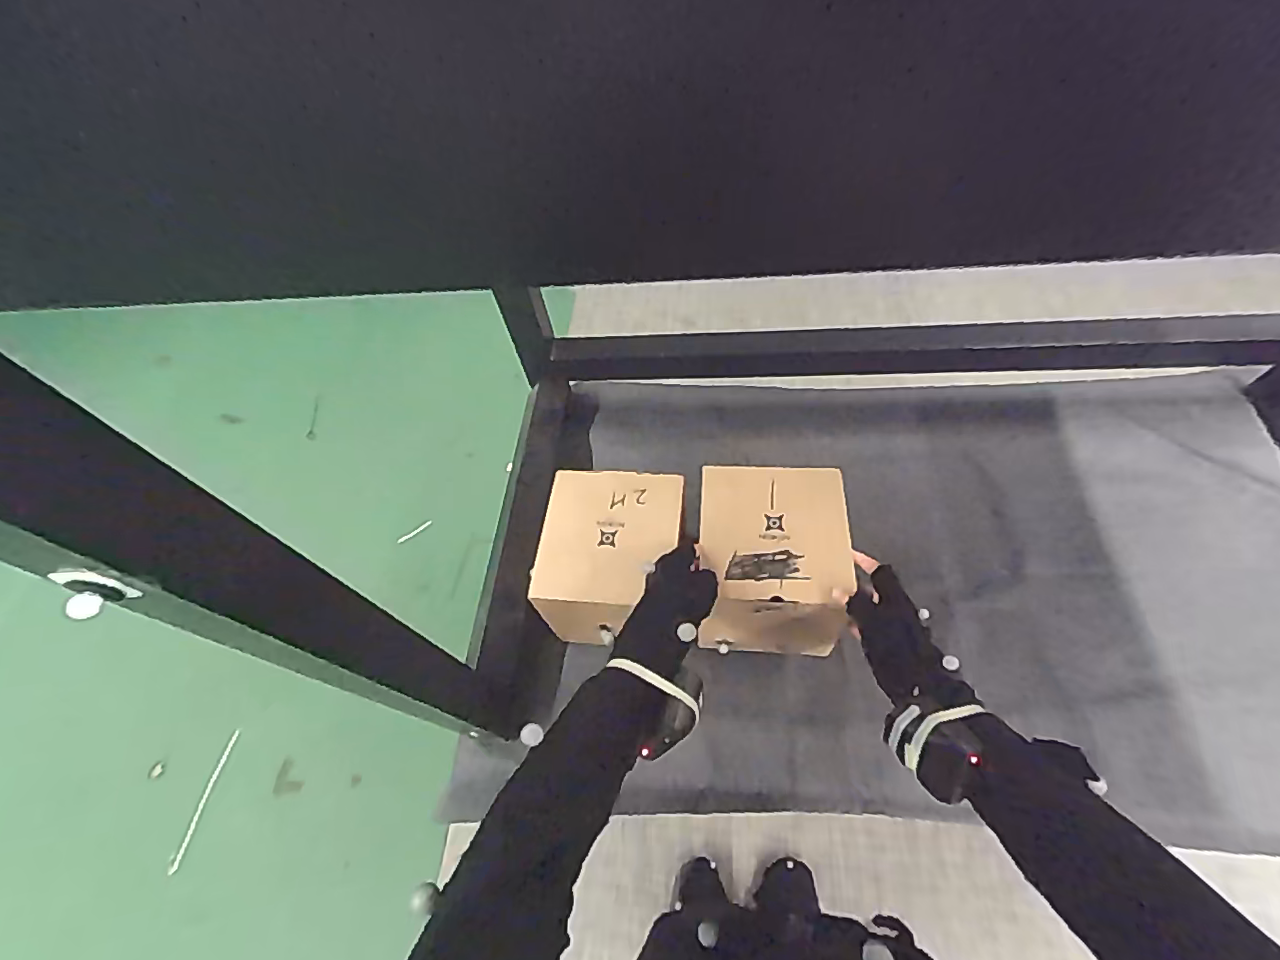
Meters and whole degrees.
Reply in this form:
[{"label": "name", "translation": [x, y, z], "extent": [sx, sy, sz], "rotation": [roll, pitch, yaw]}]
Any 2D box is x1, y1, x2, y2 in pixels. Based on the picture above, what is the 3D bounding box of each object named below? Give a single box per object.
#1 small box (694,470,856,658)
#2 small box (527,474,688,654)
[{"label": "small box", "translation": [0.156, 0.106, 0.663], "extent": [0.168, 0.176, 0.179], "rotation": [1, 55, 8]}, {"label": "small box", "translation": [-0.027, 0.112, 0.696], "extent": [0.168, 0.176, 0.179], "rotation": [3, 57, 8]}]
